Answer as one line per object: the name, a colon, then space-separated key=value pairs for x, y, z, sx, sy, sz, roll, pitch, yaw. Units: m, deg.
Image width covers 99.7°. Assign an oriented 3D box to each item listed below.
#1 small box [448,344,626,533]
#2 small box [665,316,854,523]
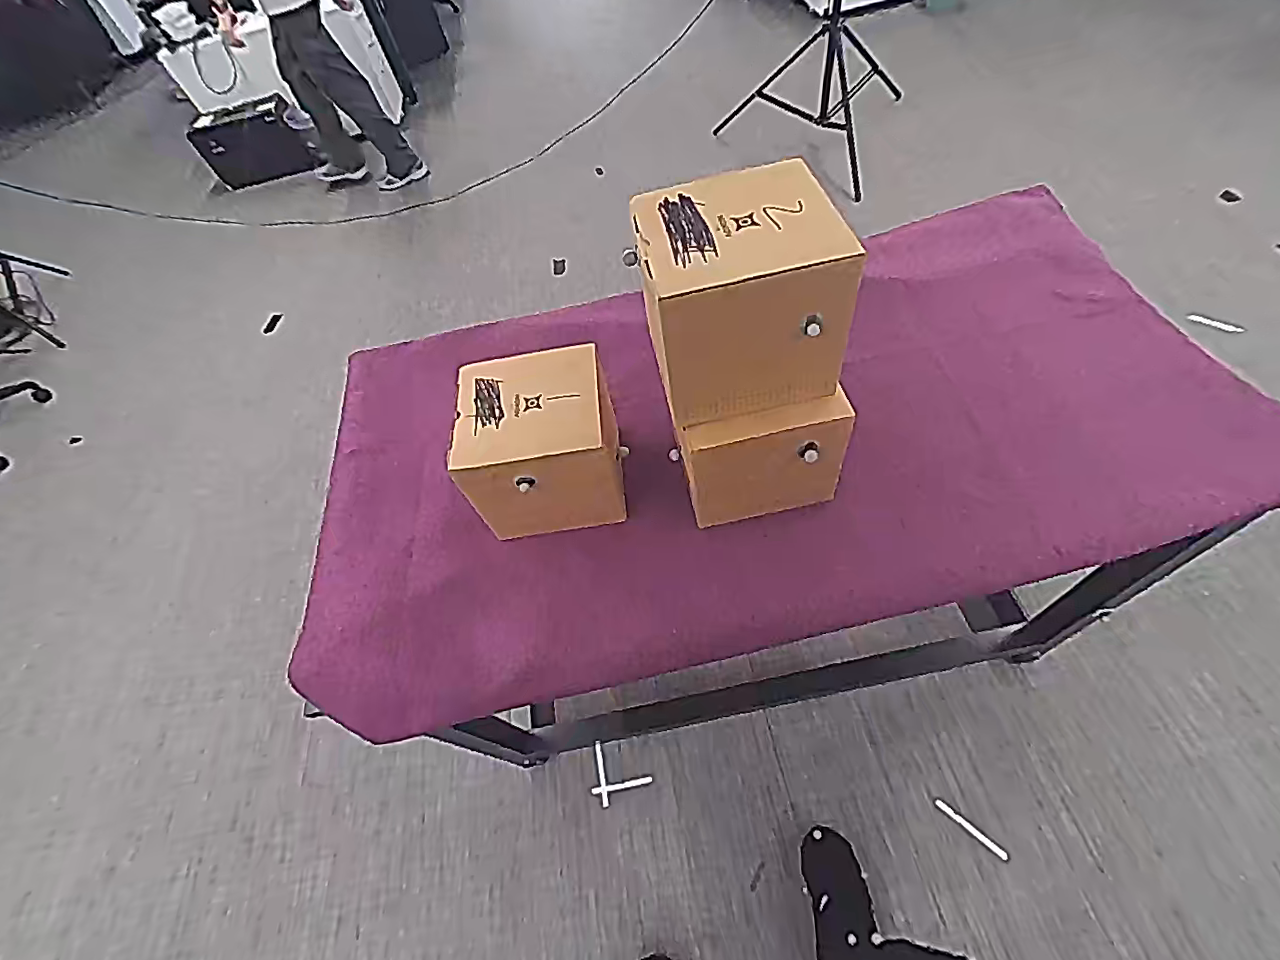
small box: x=-0.121 y=-0.046 z=0.696 sx=0.179 sy=0.176 sz=0.168 roll=-8 pitch=55 yaw=3
small box: x=0.136 y=-0.068 z=0.666 sx=0.179 sy=0.176 sz=0.168 roll=-12 pitch=54 yaw=2
